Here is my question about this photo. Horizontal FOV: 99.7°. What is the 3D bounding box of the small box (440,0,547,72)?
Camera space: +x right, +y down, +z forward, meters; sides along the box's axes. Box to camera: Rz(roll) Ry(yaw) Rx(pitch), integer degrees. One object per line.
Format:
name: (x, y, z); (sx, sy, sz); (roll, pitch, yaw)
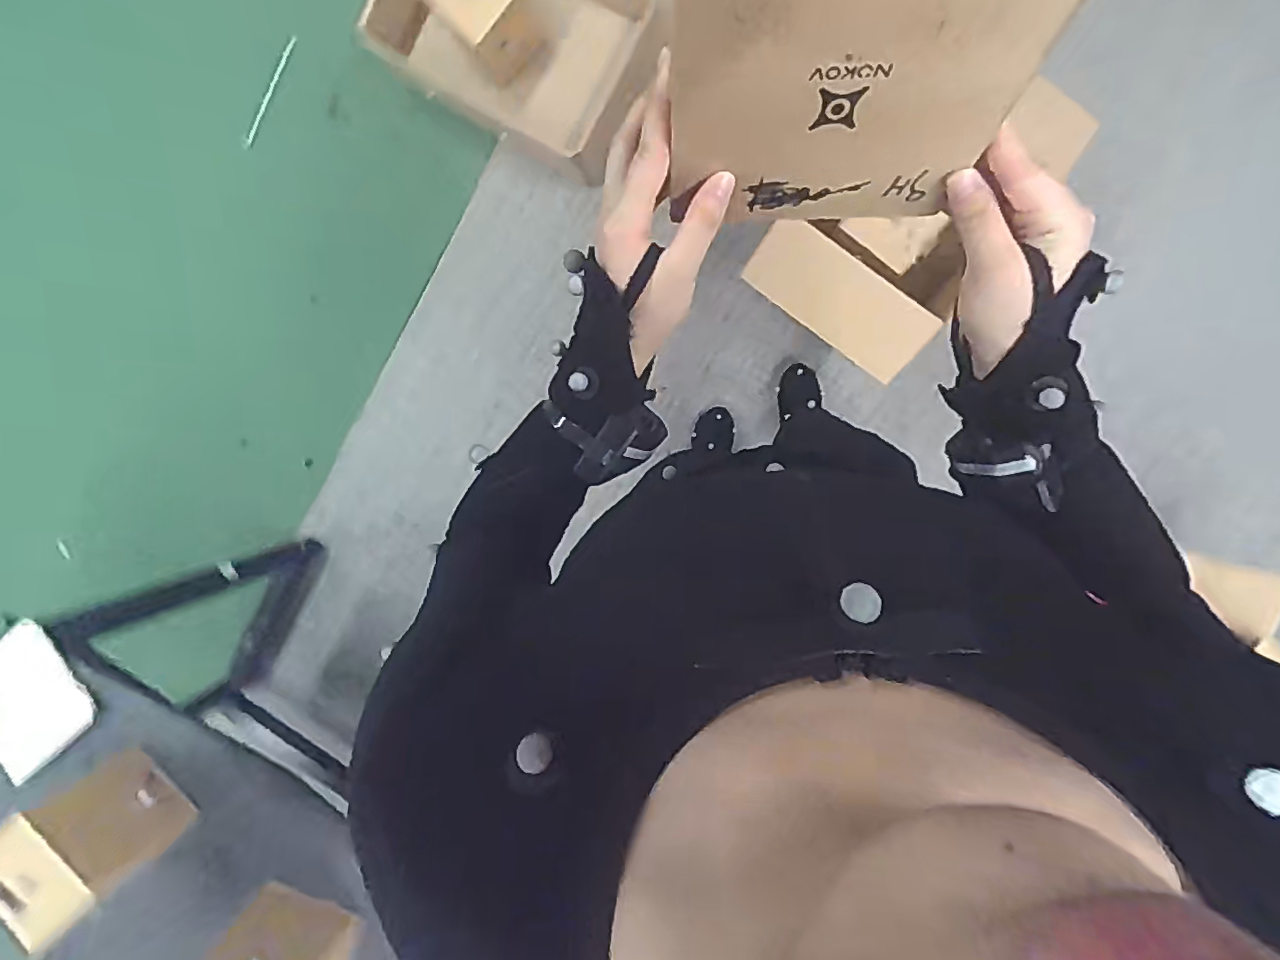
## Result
small box: (-0.350, -1.126, 1.287); (0.179, 0.176, 0.168); (44, 100, 0)

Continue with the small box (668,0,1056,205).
small box: (0.099, -0.279, 0.279); (0.168, 0.179, 0.176); (-2, 77, 4)

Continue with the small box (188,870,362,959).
small box: (-0.586, 0.782, 0.870); (0.179, 0.176, 0.168); (17, 99, 7)

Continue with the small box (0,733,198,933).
small box: (-0.885, 0.560, 0.878); (0.179, 0.176, 0.168); (-41, 91, 11)
